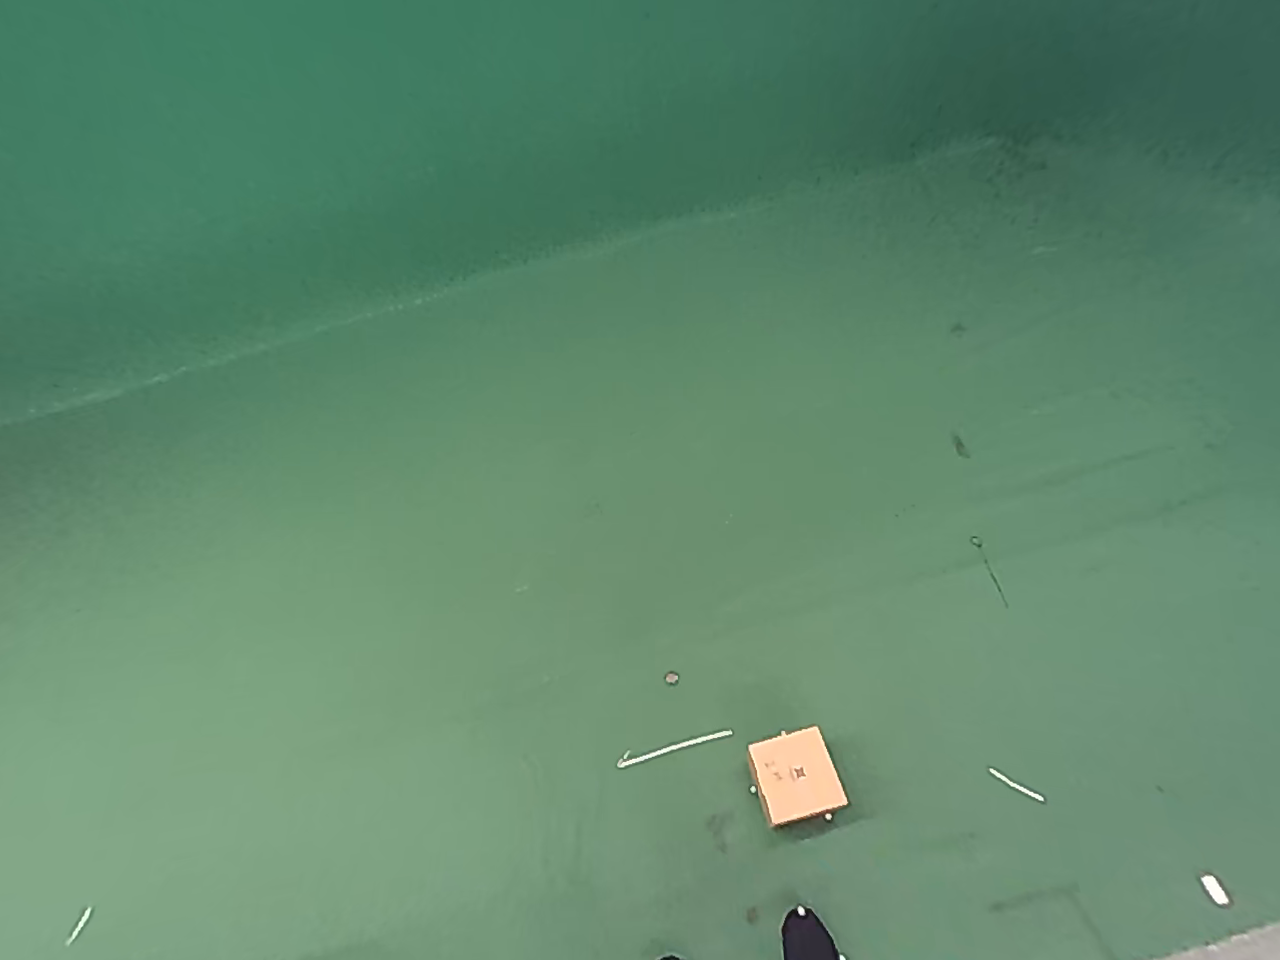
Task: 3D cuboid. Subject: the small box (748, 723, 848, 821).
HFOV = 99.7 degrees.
[{"bbox_3d":[0.368,0.703,1.297,0.179,0.176,0.168,-14,54,-1],"label":"small box"}]
